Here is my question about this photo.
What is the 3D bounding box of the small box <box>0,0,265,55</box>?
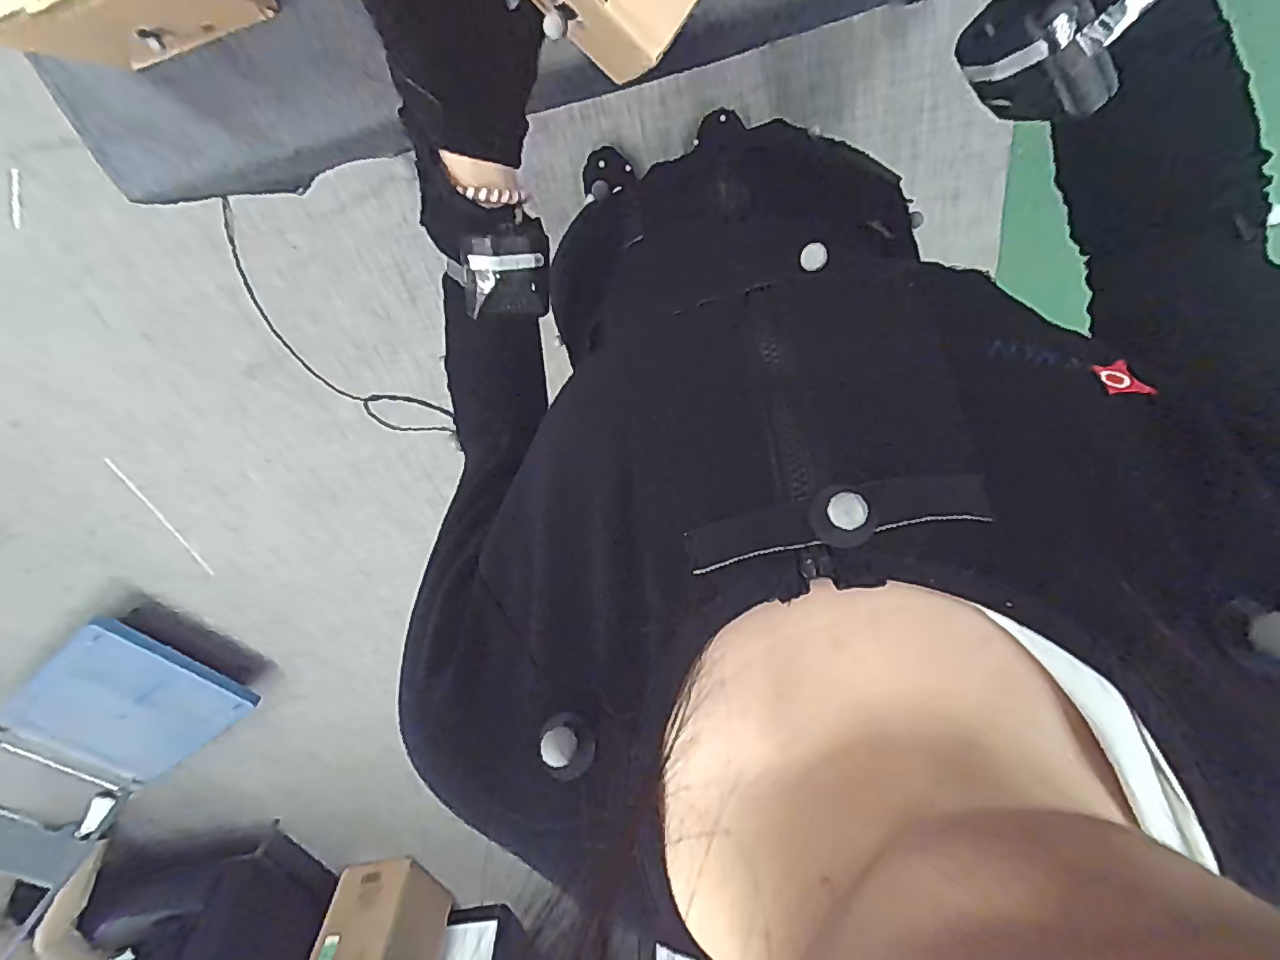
[{"bbox_3d":[-0.439,-0.455,0.402,0.168,0.176,0.179,-14,122,7],"label":"small box"}]

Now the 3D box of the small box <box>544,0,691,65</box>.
[{"bbox_3d":[-0.013,-0.321,0.231,0.168,0.176,0.179,30,114,-26],"label":"small box"}]
